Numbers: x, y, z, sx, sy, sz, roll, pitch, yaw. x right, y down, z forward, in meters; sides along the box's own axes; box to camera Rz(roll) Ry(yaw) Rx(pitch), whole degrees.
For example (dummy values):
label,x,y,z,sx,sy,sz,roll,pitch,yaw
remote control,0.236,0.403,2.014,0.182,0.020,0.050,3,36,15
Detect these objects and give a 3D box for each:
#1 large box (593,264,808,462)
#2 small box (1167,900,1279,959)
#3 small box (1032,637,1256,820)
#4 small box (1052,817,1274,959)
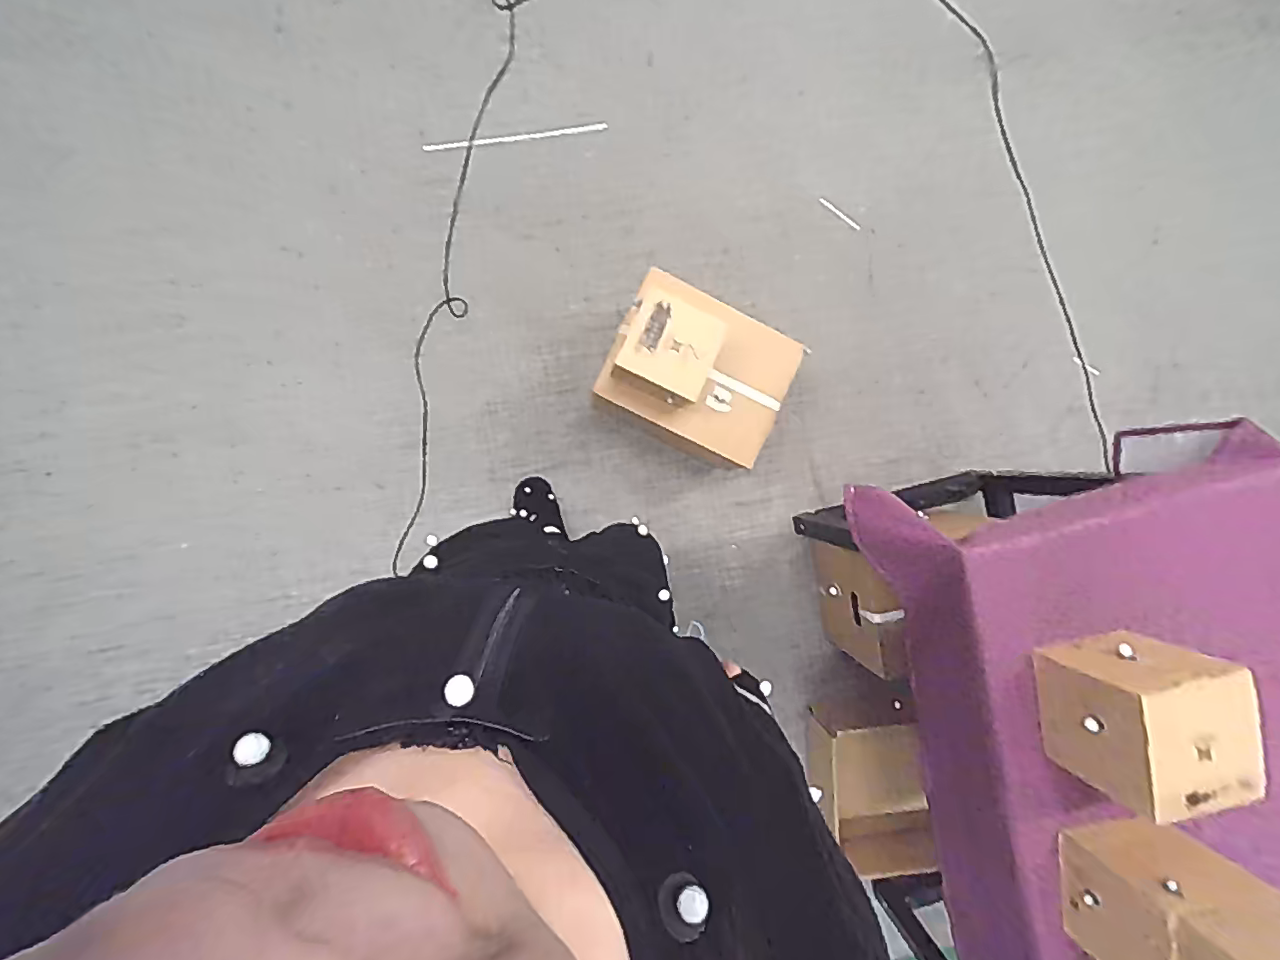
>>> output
label,x,y,z,sx,sy,sz,roll,pitch,yaw
large box,0.126,-0.265,1.357,0.408,0.320,0.320,26,91,-7
small box,0.782,0.639,0.635,0.179,0.176,0.168,-3,92,-5
small box,0.707,0.339,0.778,0.168,0.176,0.179,-9,93,-5
small box,0.758,0.631,0.798,0.179,0.176,0.168,-4,93,-5
